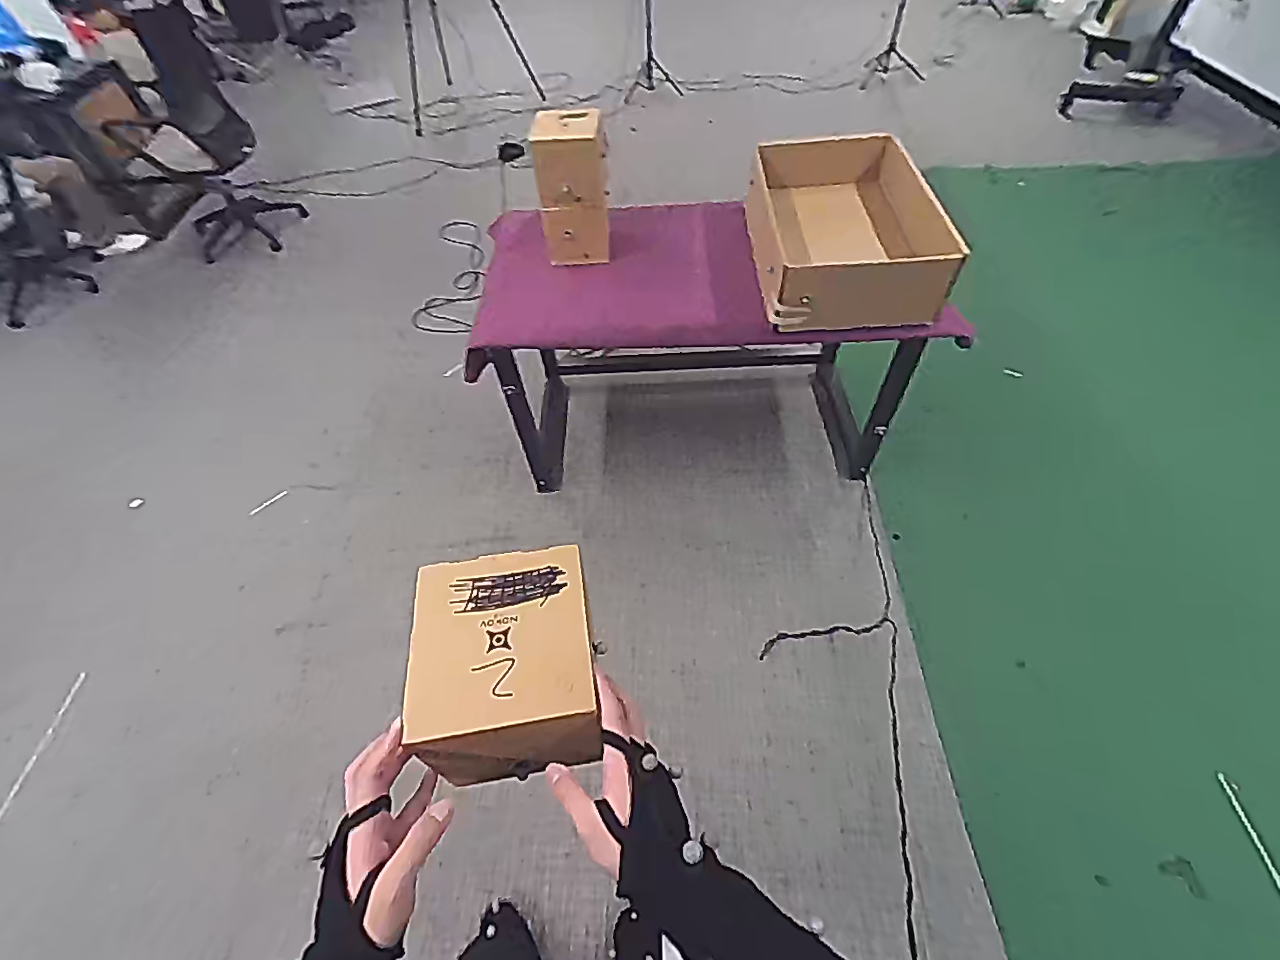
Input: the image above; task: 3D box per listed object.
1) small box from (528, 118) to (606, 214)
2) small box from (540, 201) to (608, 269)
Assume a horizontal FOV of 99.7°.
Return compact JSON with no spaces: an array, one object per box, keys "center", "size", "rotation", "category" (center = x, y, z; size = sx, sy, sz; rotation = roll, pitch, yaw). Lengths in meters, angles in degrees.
[{"center":[-0.183,-0.820,1.413],"size":[0.168,0.176,0.179],"rotation":[1,54,4],"category":"small box"},{"center":[-0.181,-0.719,1.544],"size":[0.168,0.176,0.179],"rotation":[-3,52,2],"category":"small box"}]
